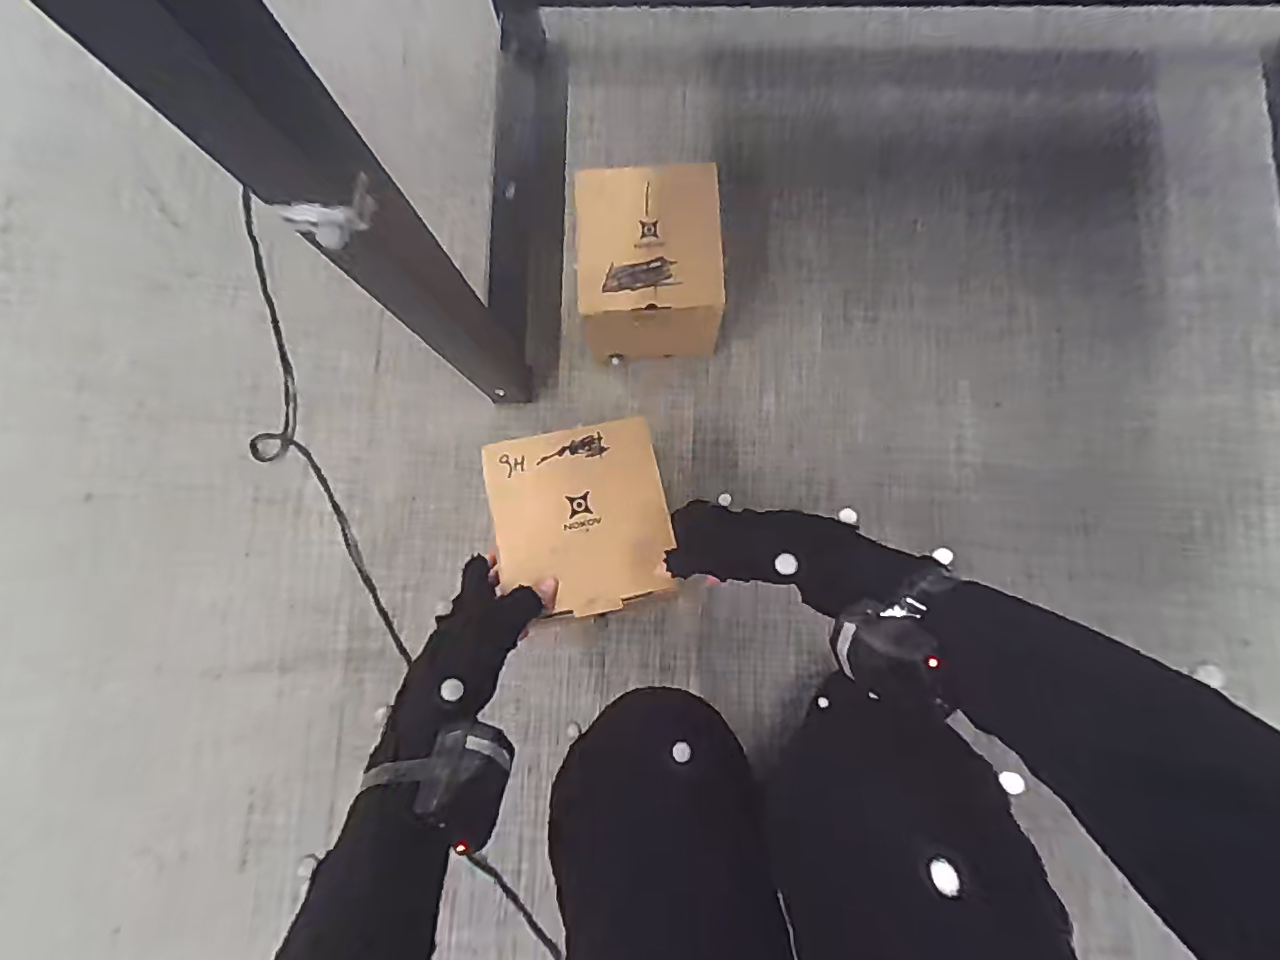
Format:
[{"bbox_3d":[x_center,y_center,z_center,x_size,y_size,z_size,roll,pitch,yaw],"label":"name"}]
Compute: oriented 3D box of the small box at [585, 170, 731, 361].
[{"bbox_3d":[0.023,-0.258,0.690,0.168,0.176,0.179,-1,82,1],"label":"small box"}]
